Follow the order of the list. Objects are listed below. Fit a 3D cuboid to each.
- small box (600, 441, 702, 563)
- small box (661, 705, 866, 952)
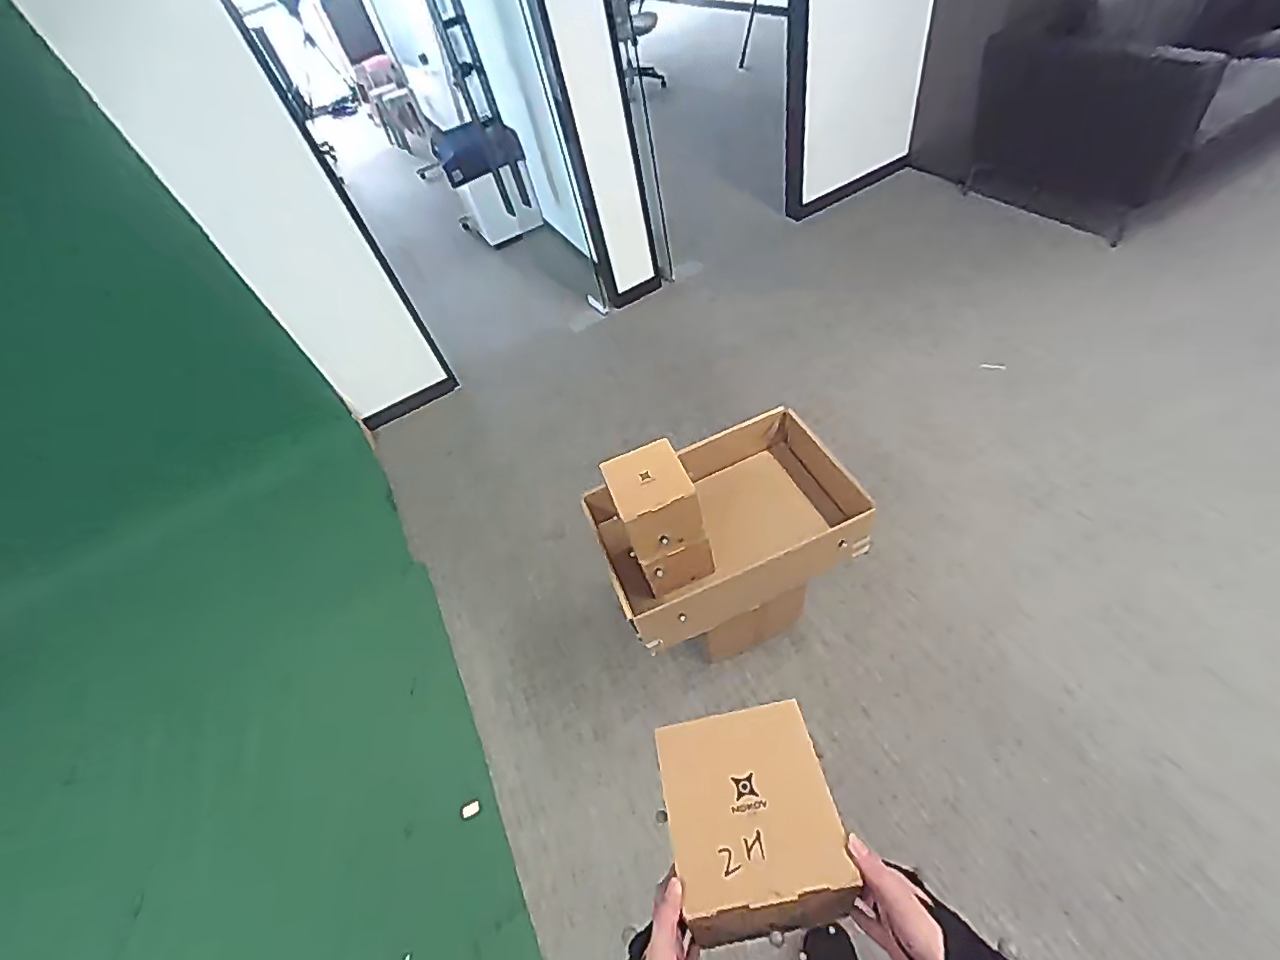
[{"bbox_3d":[0.026,0.051,1.194,0.168,0.176,0.179,-22,51,-5],"label":"small box"},{"bbox_3d":[0.124,0.381,0.595,0.168,0.176,0.179,-12,41,1],"label":"small box"}]
